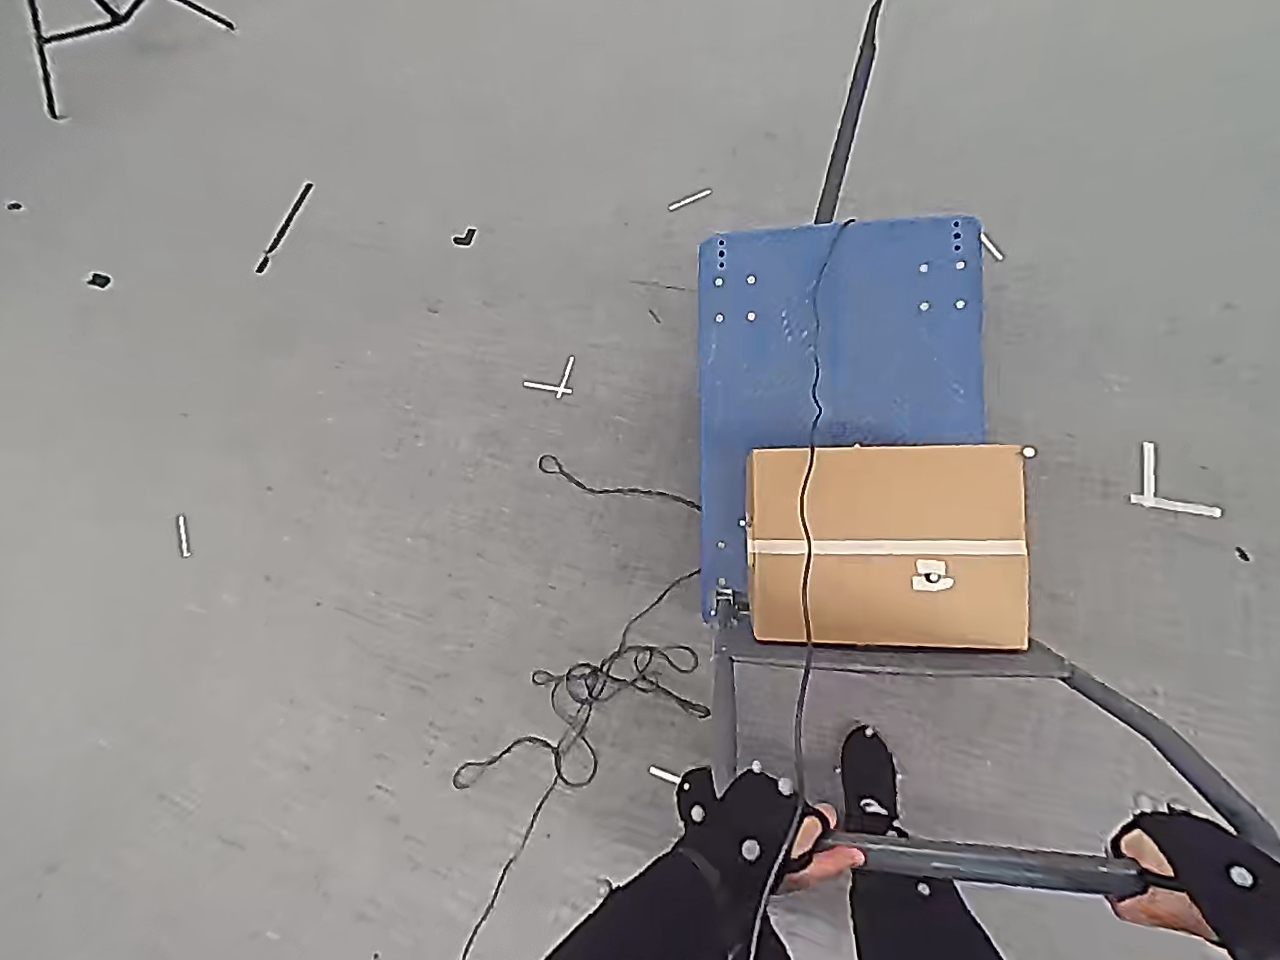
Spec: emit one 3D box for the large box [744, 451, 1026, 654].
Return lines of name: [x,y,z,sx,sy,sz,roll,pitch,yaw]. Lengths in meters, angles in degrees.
large box: [0.403,0.117,0.990,0.408,0.320,0.320,0,90,9]
